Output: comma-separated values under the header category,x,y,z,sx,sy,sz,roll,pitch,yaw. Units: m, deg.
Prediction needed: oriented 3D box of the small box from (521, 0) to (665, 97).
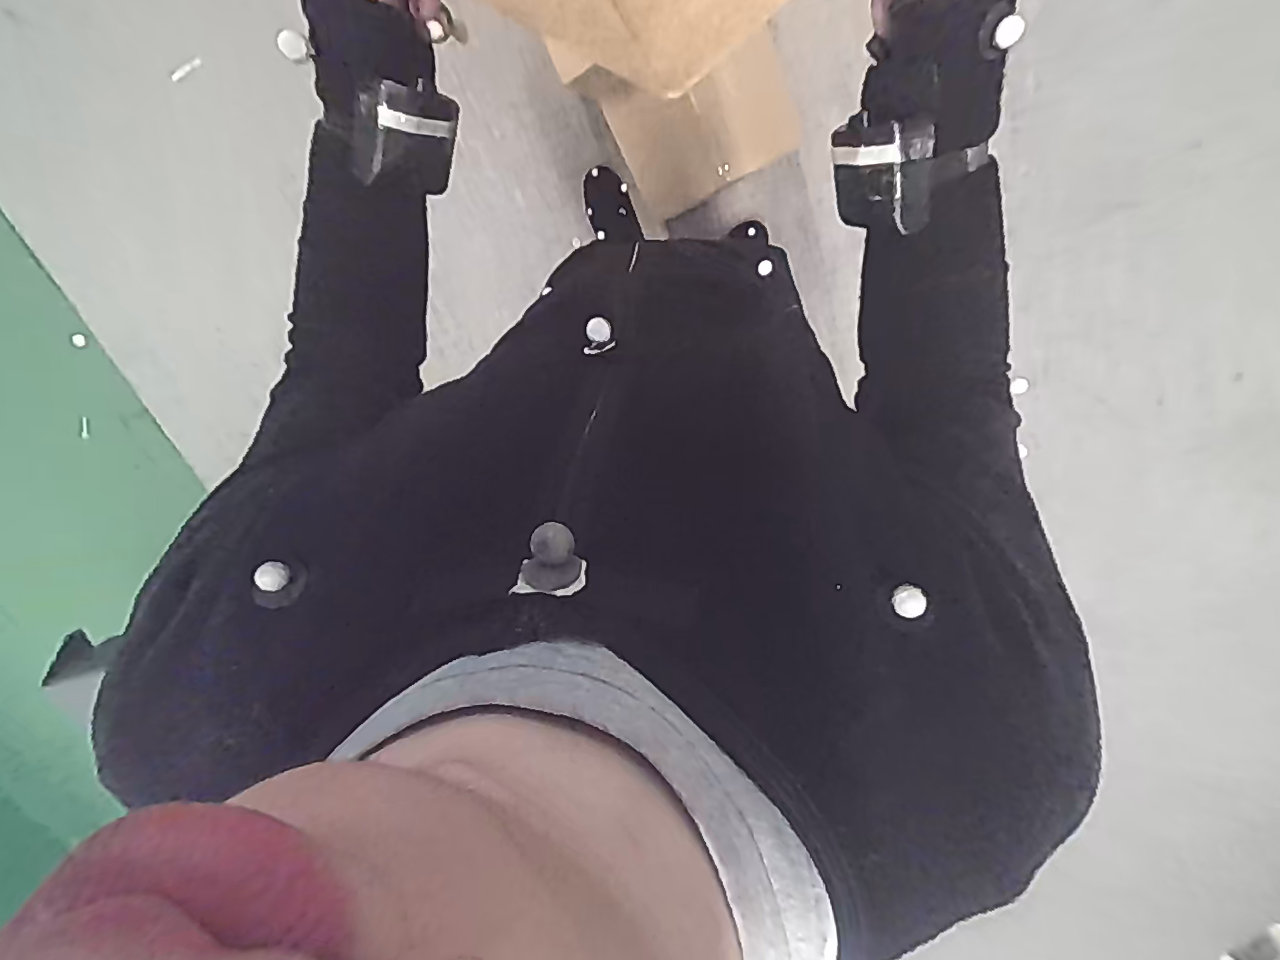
category,x,y,z,sx,sy,sz,roll,pitch,yaw
small box,-0.070,-0.745,0.856,0.179,0.176,0.168,-16,112,22
